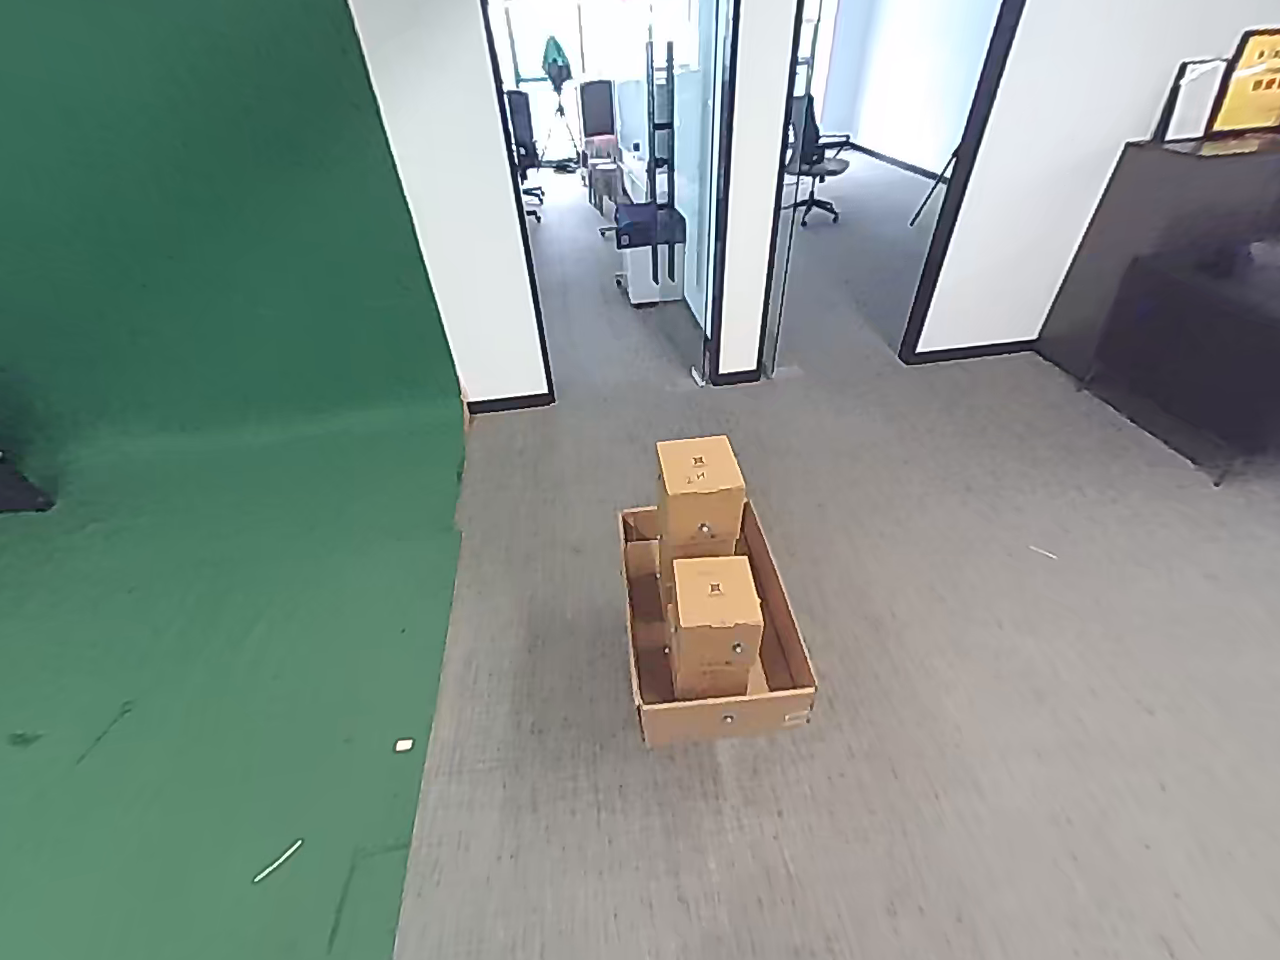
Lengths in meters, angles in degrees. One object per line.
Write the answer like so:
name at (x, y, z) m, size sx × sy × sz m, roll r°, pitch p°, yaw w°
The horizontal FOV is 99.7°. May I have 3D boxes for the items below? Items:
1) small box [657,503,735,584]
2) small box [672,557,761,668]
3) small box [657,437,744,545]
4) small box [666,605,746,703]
small box at (0.132, 0.137, 1.350) m, size 0.168 × 0.176 × 0.179 m, roll -4°, pitch 43°, yaw -3°
small box at (0.156, 0.289, 1.163) m, size 0.168 × 0.176 × 0.179 m, roll -2°, pitch 39°, yaw -1°
small box at (0.129, 0.025, 1.228) m, size 0.168 × 0.176 × 0.179 m, roll -6°, pitch 43°, yaw -3°
small box at (0.153, 0.409, 1.274) m, size 0.168 × 0.176 × 0.179 m, roll -4°, pitch 39°, yaw -2°
